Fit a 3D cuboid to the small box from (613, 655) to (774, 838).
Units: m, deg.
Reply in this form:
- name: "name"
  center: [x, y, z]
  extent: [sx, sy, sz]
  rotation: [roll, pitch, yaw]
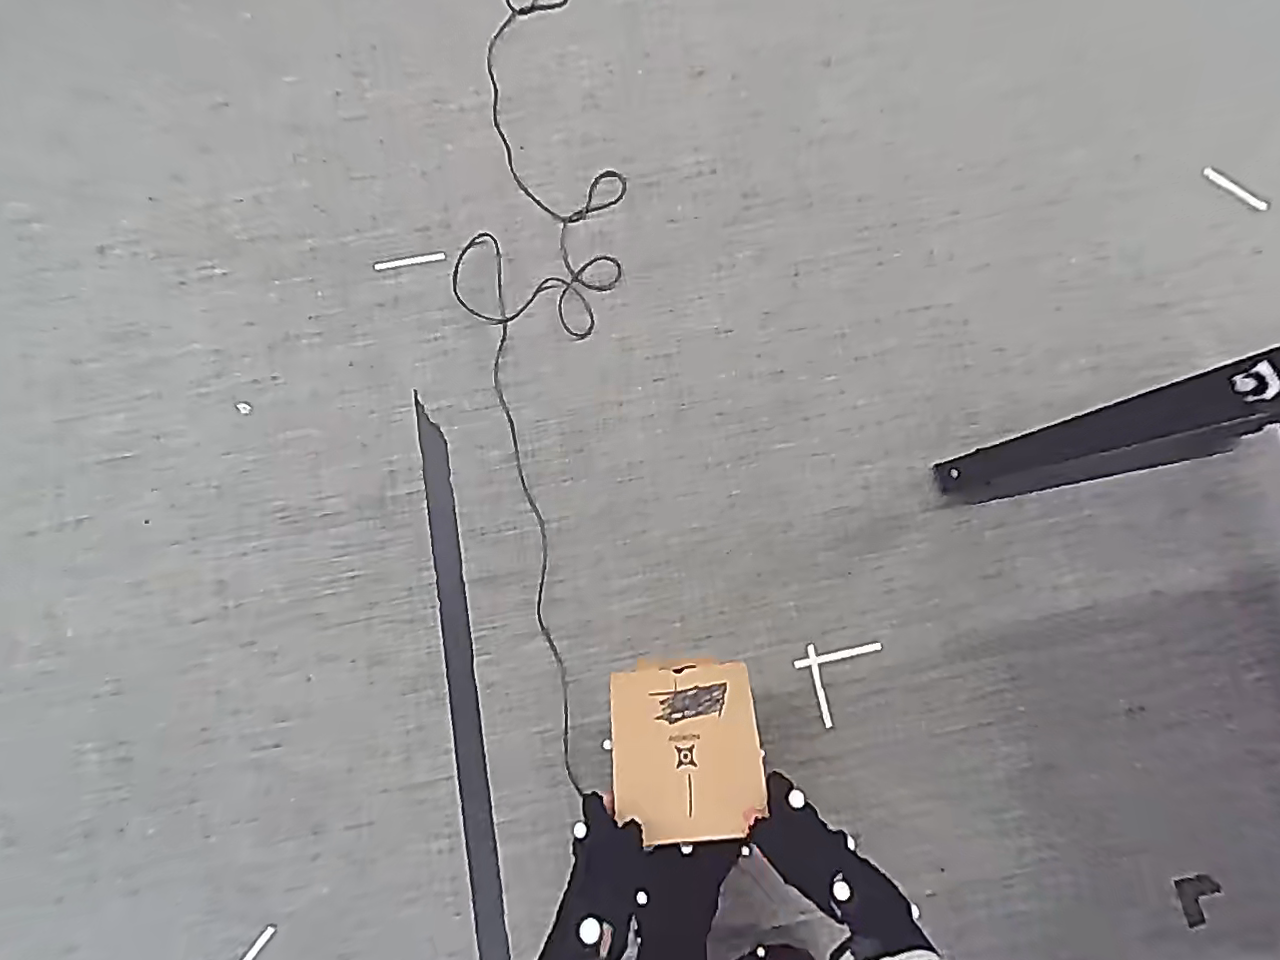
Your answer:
- name: "small box"
  center: [0.055, 0.328, 0.667]
  extent: [0.168, 0.176, 0.179]
  rotation: [-5, 60, 0]
